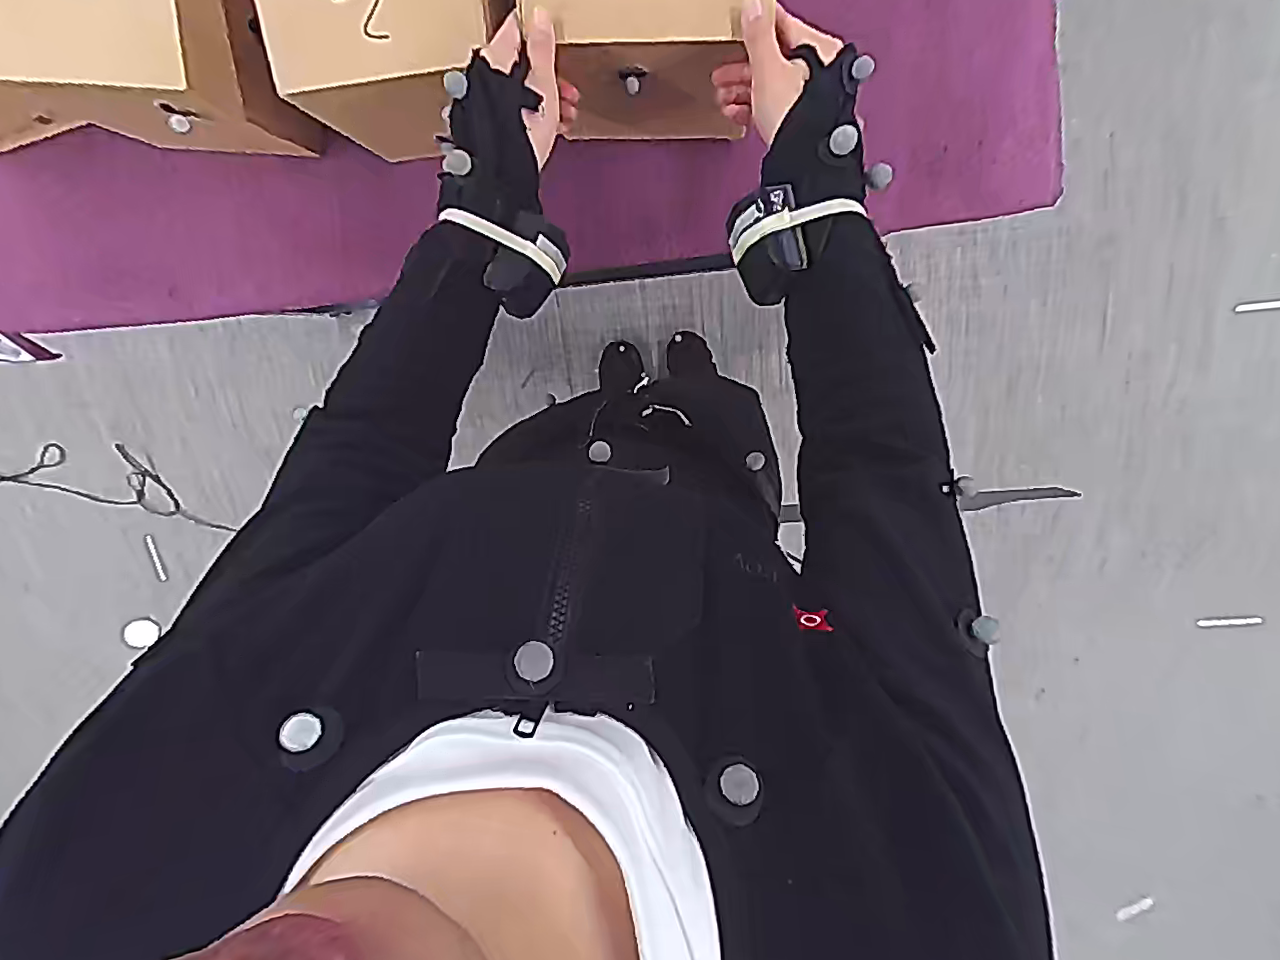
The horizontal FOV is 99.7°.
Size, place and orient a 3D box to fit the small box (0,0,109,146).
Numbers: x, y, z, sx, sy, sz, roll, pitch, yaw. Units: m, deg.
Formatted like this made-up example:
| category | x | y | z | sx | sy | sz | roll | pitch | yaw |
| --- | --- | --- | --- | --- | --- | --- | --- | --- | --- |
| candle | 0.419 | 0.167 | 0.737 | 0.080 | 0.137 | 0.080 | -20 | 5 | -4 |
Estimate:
| category | x | y | z | sx | sy | sz | roll | pitch | yaw |
| --- | --- | --- | --- | --- | --- | --- | --- | --- | --- |
| small box | -0.644 | -0.420 | 0.473 | 0.168 | 0.176 | 0.179 | -13 | 105 | 7 |
